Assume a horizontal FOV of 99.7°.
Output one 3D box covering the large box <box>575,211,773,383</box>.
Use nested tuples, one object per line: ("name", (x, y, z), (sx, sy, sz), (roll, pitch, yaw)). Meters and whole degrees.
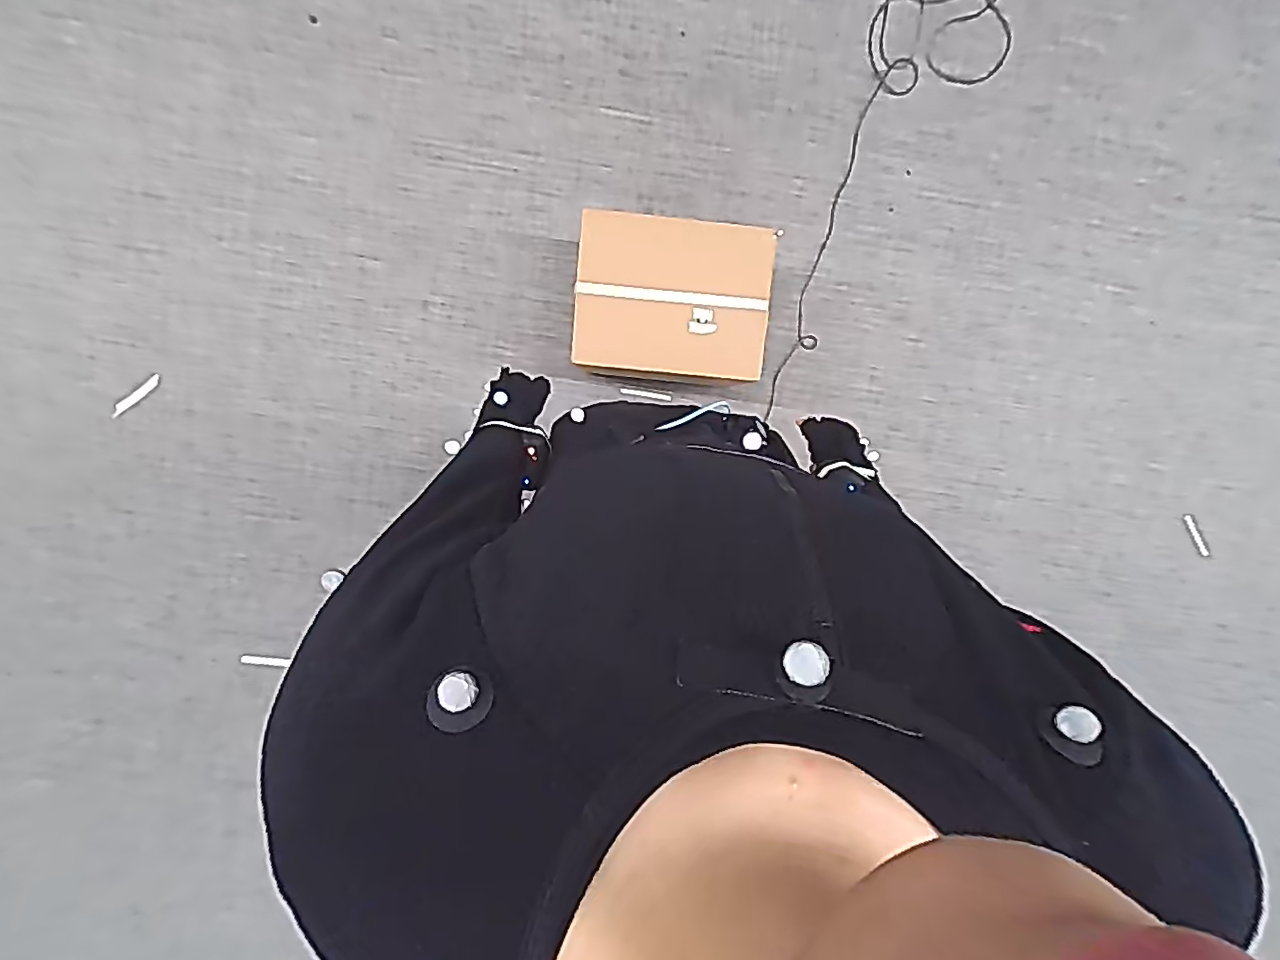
("large box", (0.062, -0.405, 1.282), (0.408, 0.320, 0.320), (5, 98, -3))
